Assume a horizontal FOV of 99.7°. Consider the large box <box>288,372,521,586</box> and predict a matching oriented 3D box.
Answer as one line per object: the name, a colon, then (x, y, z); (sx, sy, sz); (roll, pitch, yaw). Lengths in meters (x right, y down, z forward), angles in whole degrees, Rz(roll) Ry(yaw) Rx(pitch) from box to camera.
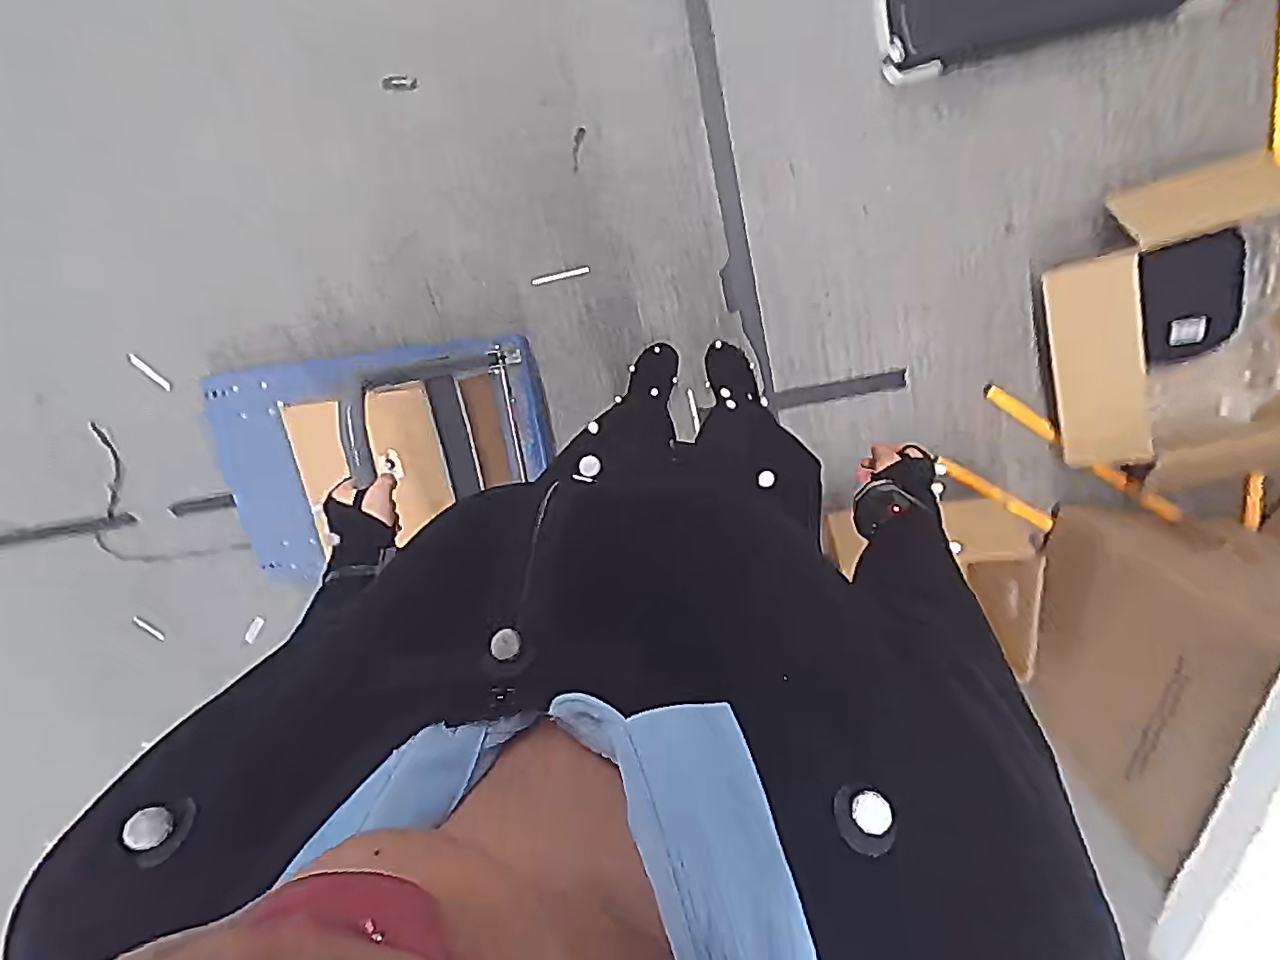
large box: (-0.495, -0.016, 1.226); (0.320, 0.320, 0.408); (-6, 105, 7)
